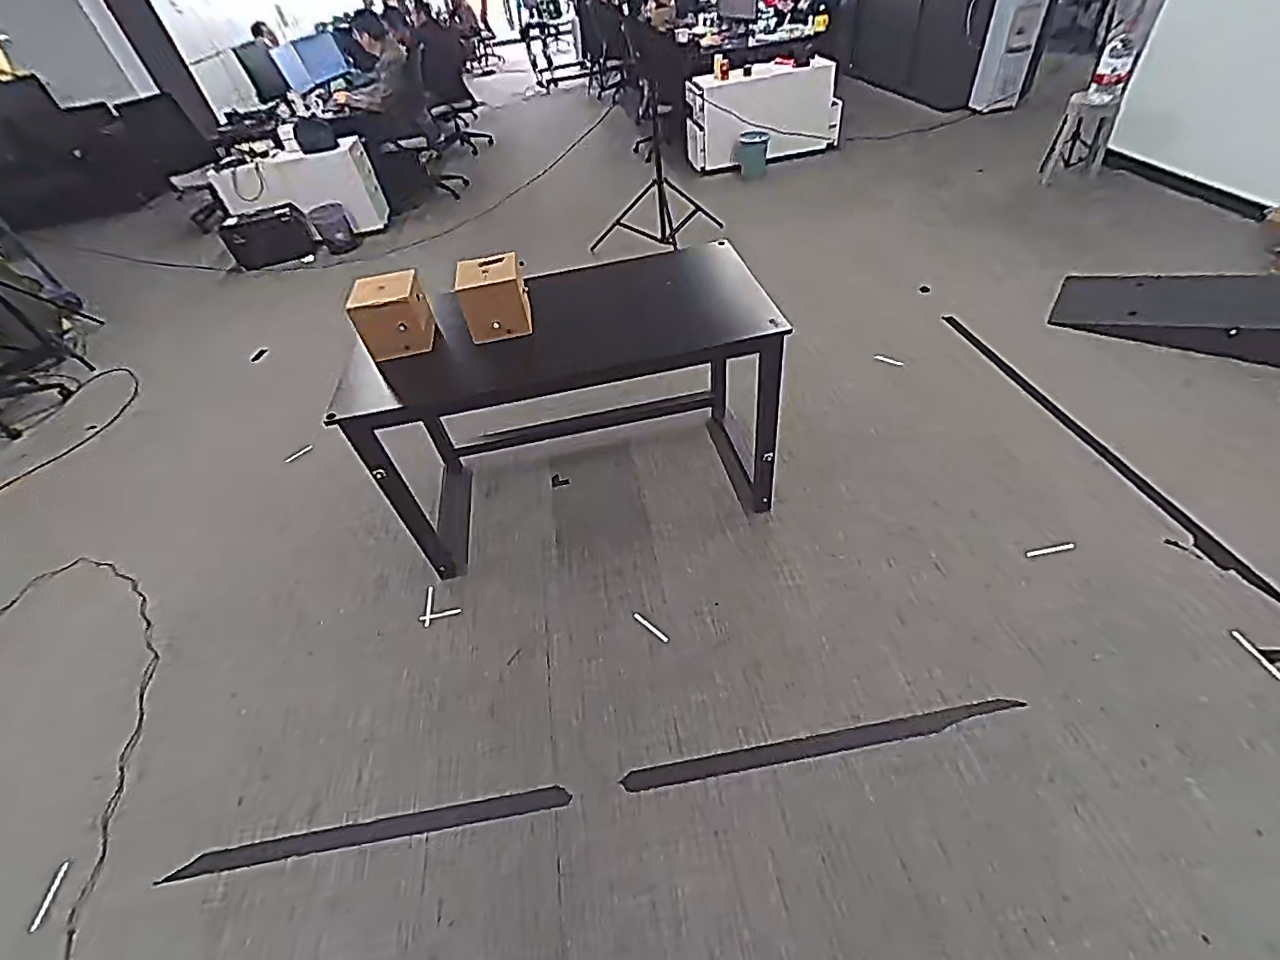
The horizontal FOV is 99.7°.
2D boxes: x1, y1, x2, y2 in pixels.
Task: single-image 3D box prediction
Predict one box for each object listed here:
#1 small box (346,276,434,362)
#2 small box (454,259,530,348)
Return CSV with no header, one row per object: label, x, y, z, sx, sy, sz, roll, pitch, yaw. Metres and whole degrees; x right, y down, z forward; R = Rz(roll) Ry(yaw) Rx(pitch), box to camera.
small box,-0.698,-0.449,1.531,0.168,0.176,0.179,-12,44,-5
small box,-0.415,-0.500,1.537,0.168,0.176,0.179,-12,46,-3
